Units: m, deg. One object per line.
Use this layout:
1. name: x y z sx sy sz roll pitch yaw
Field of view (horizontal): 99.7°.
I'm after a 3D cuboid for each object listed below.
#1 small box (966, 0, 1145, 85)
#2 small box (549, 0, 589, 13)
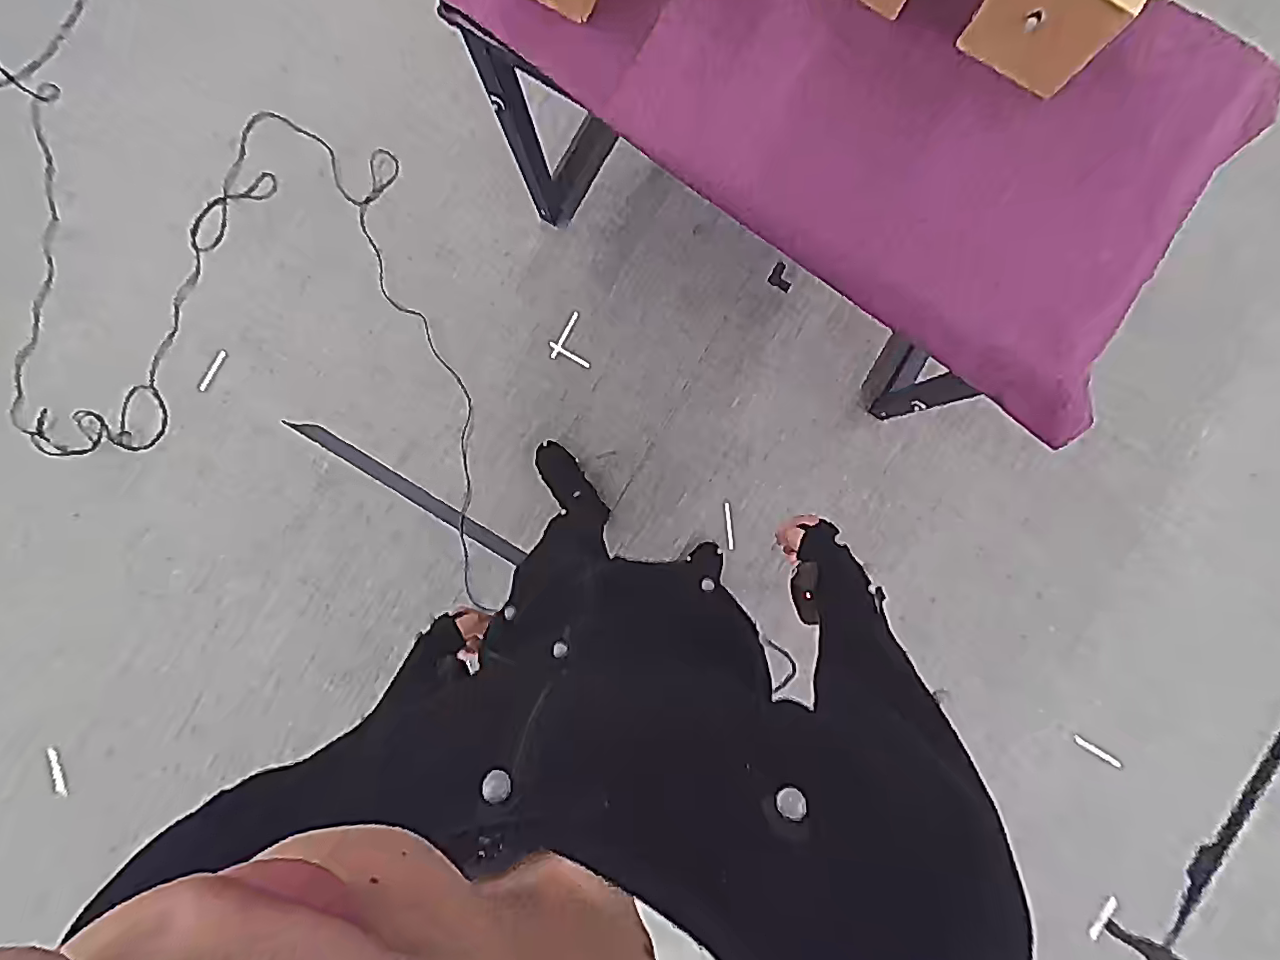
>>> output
1. small box: 0.619 -0.724 0.775 0.179 0.176 0.168 31 94 1
2. small box: -0.124 -0.856 0.786 0.168 0.176 0.179 27 92 -1
